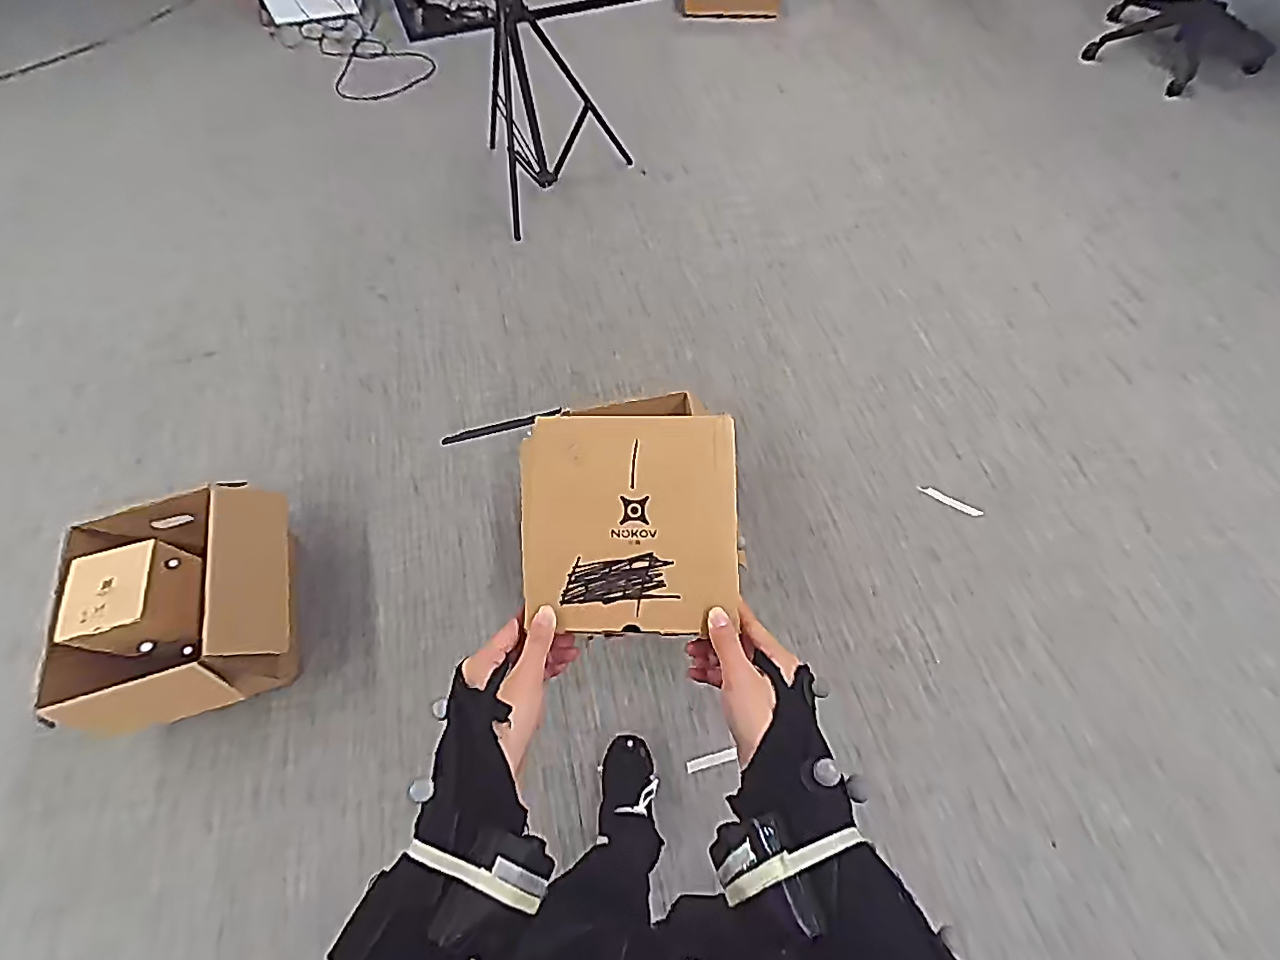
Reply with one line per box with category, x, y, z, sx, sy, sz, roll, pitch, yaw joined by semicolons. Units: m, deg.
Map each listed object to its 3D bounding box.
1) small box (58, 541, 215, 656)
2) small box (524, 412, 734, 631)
small box;-1.048;0.255;1.145;0.168;0.176;0.179;-15;63;-3
small box;-0.003;0.045;0.508;0.168;0.176;0.179;0;77;2
